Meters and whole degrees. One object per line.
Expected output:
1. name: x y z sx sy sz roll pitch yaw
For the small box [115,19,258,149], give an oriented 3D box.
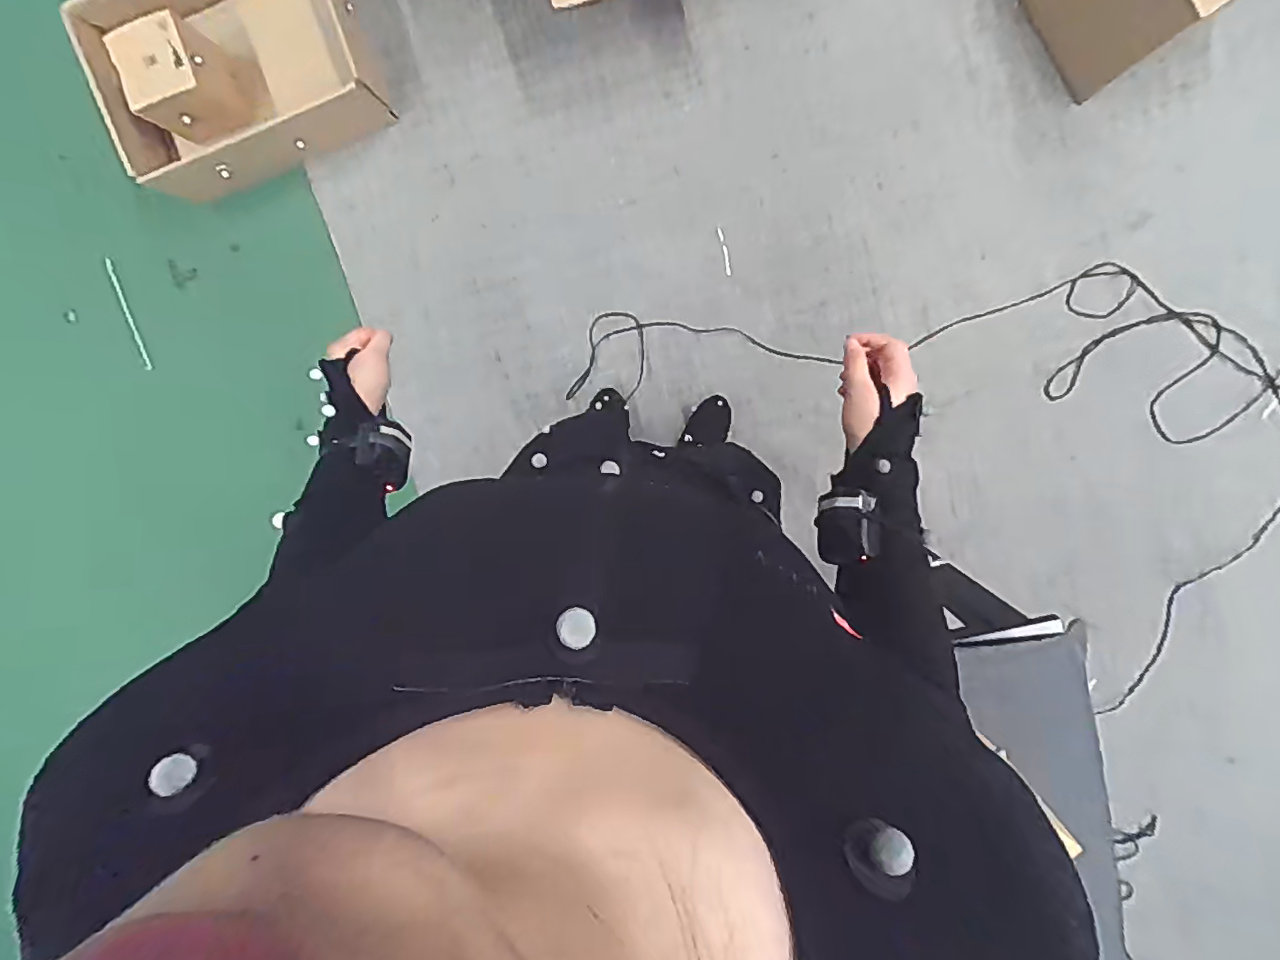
1. small box: -1.072 -0.931 1.292 0.179 0.176 0.168 -16 97 7
